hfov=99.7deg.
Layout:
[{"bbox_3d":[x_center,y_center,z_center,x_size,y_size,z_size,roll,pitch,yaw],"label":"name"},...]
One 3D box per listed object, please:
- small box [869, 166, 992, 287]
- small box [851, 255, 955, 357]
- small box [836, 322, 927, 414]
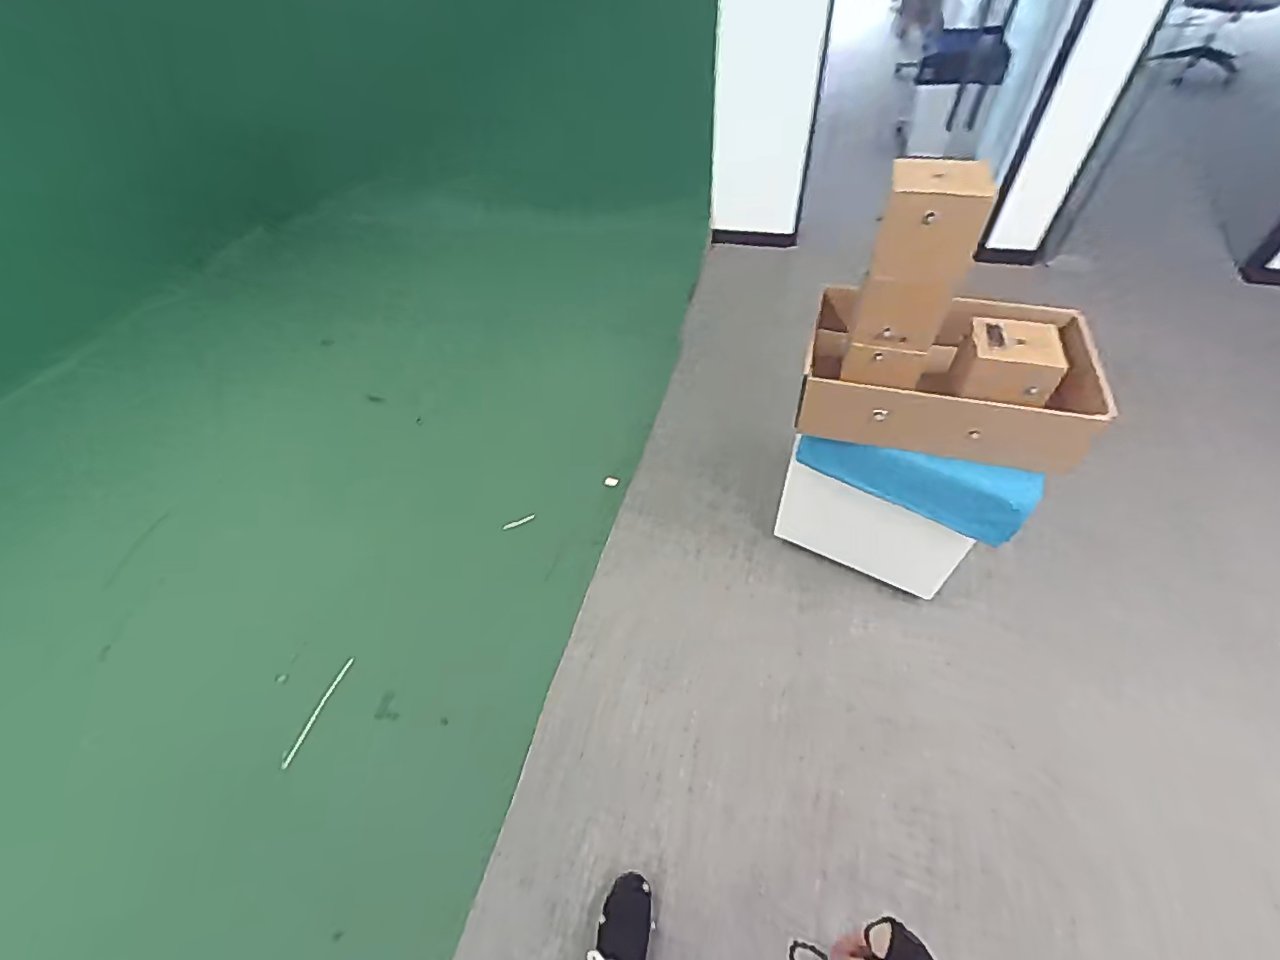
[{"bbox_3d":[0.569,-0.506,1.083,0.179,0.176,0.168,11,51,14],"label":"small box"},{"bbox_3d":[0.579,-0.402,1.209,0.168,0.176,0.179,11,51,13],"label":"small box"},{"bbox_3d":[0.587,-0.291,1.328,0.168,0.176,0.179,11,50,13],"label":"small box"}]
